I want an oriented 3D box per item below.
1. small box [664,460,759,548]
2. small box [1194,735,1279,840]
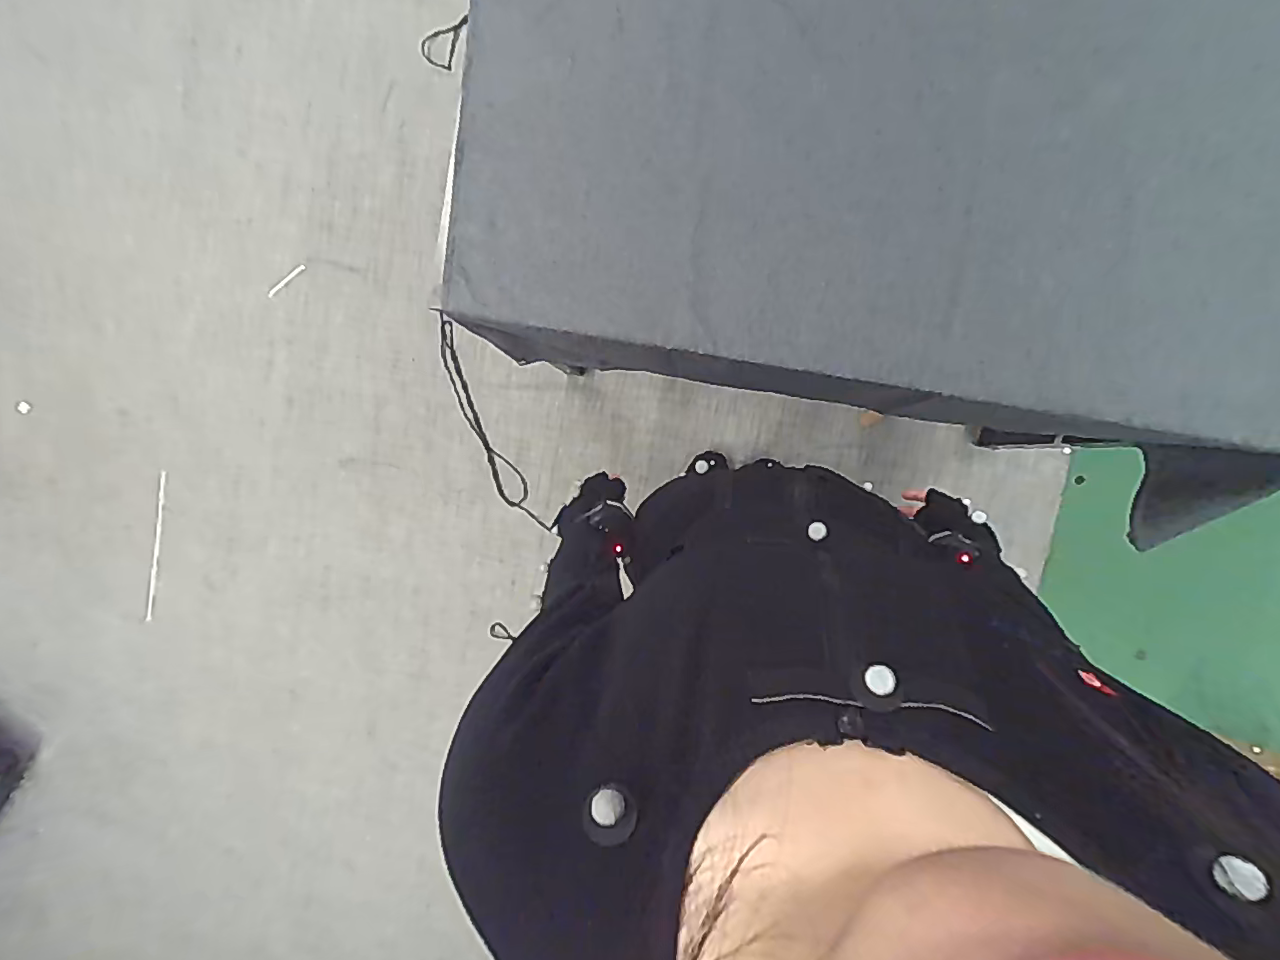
[{"bbox_3d":[0.184,0.061,1.427,0.168,0.176,0.179,-45,71,18],"label":"small box"},{"bbox_3d":[1.510,0.744,1.297,0.179,0.176,0.168,16,95,5],"label":"small box"}]
